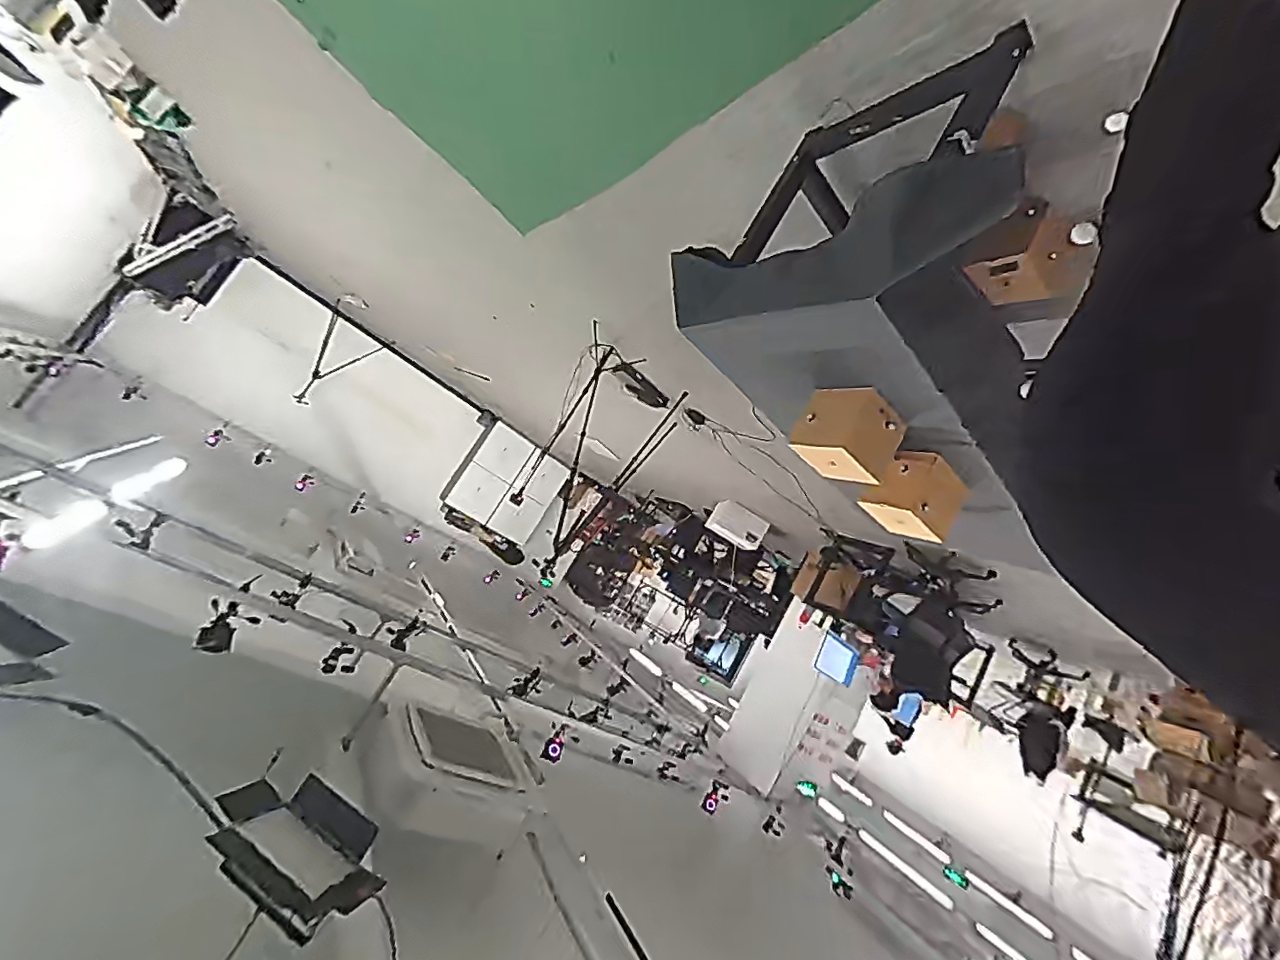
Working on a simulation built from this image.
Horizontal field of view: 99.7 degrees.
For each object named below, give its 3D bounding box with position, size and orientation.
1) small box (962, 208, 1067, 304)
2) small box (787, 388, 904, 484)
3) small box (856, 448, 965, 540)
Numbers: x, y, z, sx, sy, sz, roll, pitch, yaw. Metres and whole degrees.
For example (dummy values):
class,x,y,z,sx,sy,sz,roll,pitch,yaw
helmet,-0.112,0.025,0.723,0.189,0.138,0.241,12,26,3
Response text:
class,x,y,z,sx,sy,sz,roll,pitch,yaw
small box,1.036,-0.621,1.495,0.179,0.176,0.168,34,170,-29
small box,0.504,-0.113,1.322,0.168,0.176,0.179,34,170,-29
small box,0.720,0.033,1.432,0.179,0.176,0.168,35,170,-26
